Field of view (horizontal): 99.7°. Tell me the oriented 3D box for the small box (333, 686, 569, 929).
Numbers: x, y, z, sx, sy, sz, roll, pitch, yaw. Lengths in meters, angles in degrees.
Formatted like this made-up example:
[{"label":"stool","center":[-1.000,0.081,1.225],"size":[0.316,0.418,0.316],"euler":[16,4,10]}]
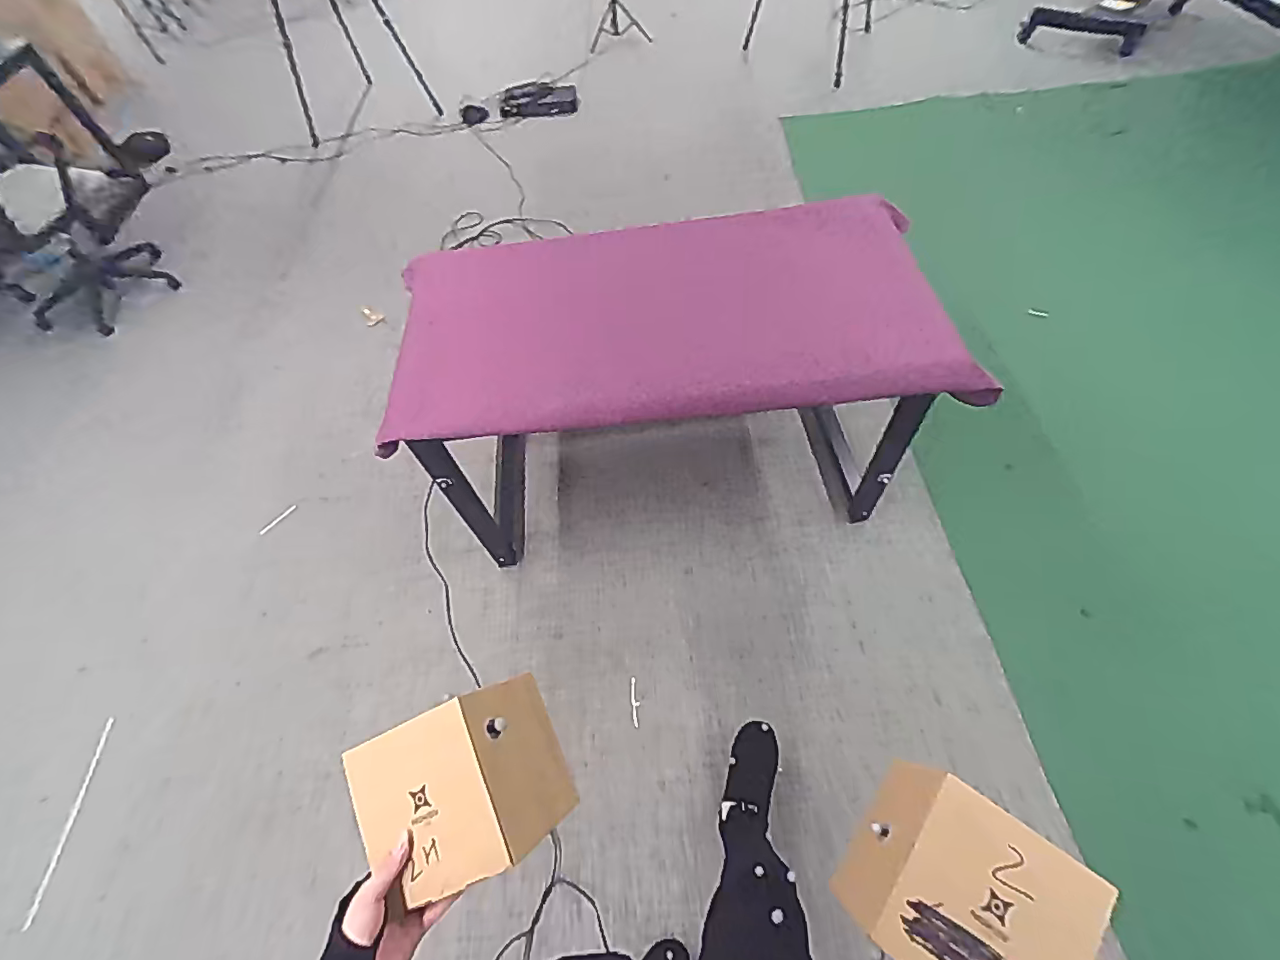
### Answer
[{"label":"small box","center":[-0.210,0.357,0.631],"size":[0.168,0.176,0.179],"euler":[-28,74,10]}]
